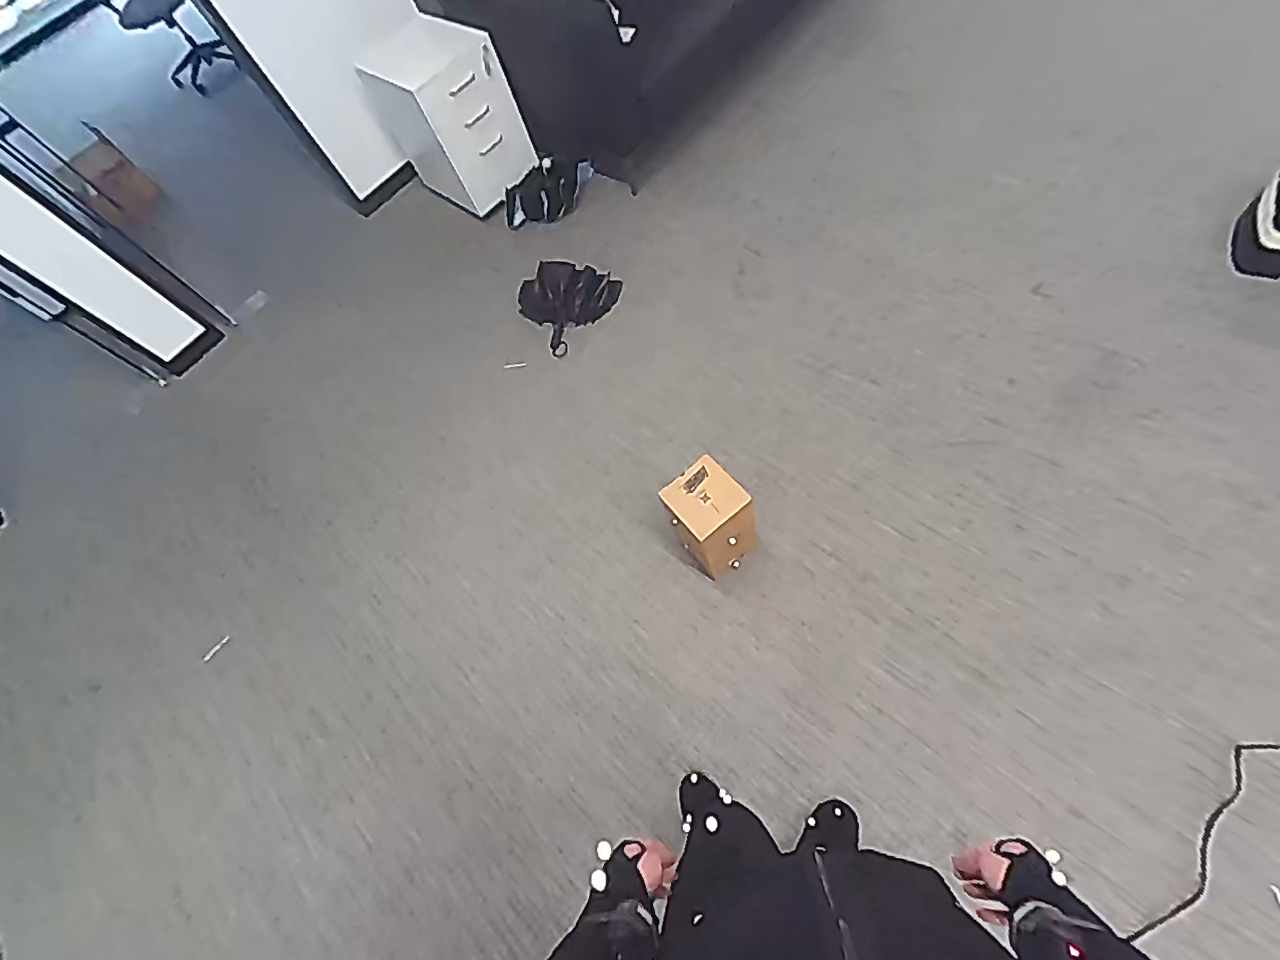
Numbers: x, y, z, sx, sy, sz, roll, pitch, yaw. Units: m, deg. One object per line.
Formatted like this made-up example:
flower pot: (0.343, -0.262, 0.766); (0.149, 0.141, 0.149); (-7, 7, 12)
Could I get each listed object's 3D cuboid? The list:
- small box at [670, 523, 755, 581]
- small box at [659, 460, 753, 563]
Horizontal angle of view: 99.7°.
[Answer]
small box: (0.210, 0.162, 1.544); (0.168, 0.176, 0.179); (-39, 62, -6)
small box: (0.174, 0.087, 1.401); (0.168, 0.176, 0.179); (-38, 61, -6)
